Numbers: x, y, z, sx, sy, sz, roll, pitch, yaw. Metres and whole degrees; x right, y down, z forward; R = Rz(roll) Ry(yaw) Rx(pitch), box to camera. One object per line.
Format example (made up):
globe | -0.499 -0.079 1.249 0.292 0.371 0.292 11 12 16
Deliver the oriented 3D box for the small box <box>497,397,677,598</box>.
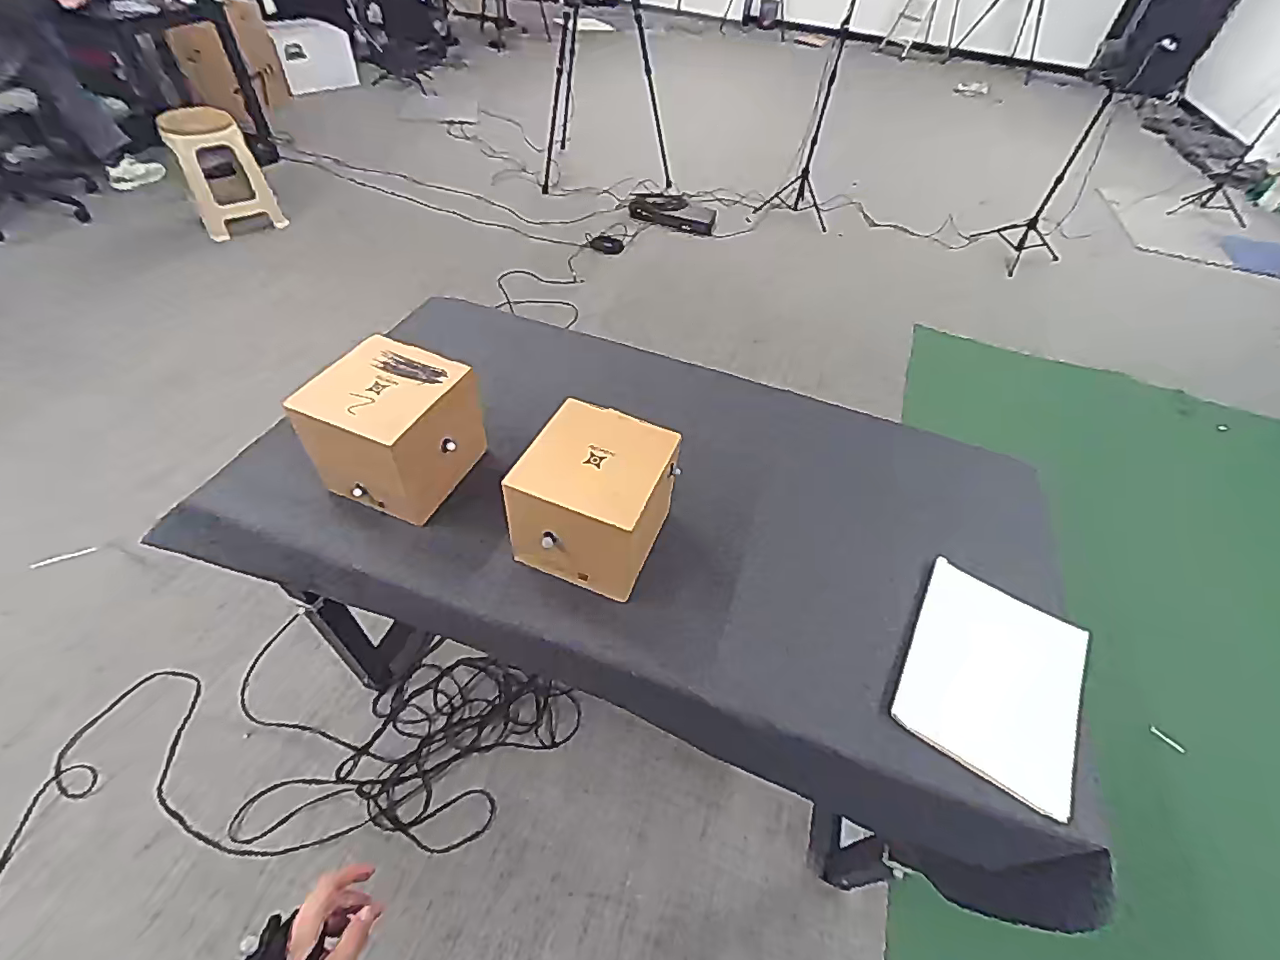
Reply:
small box | -0.062 0.026 0.711 0.168 0.176 0.179 19 49 11
